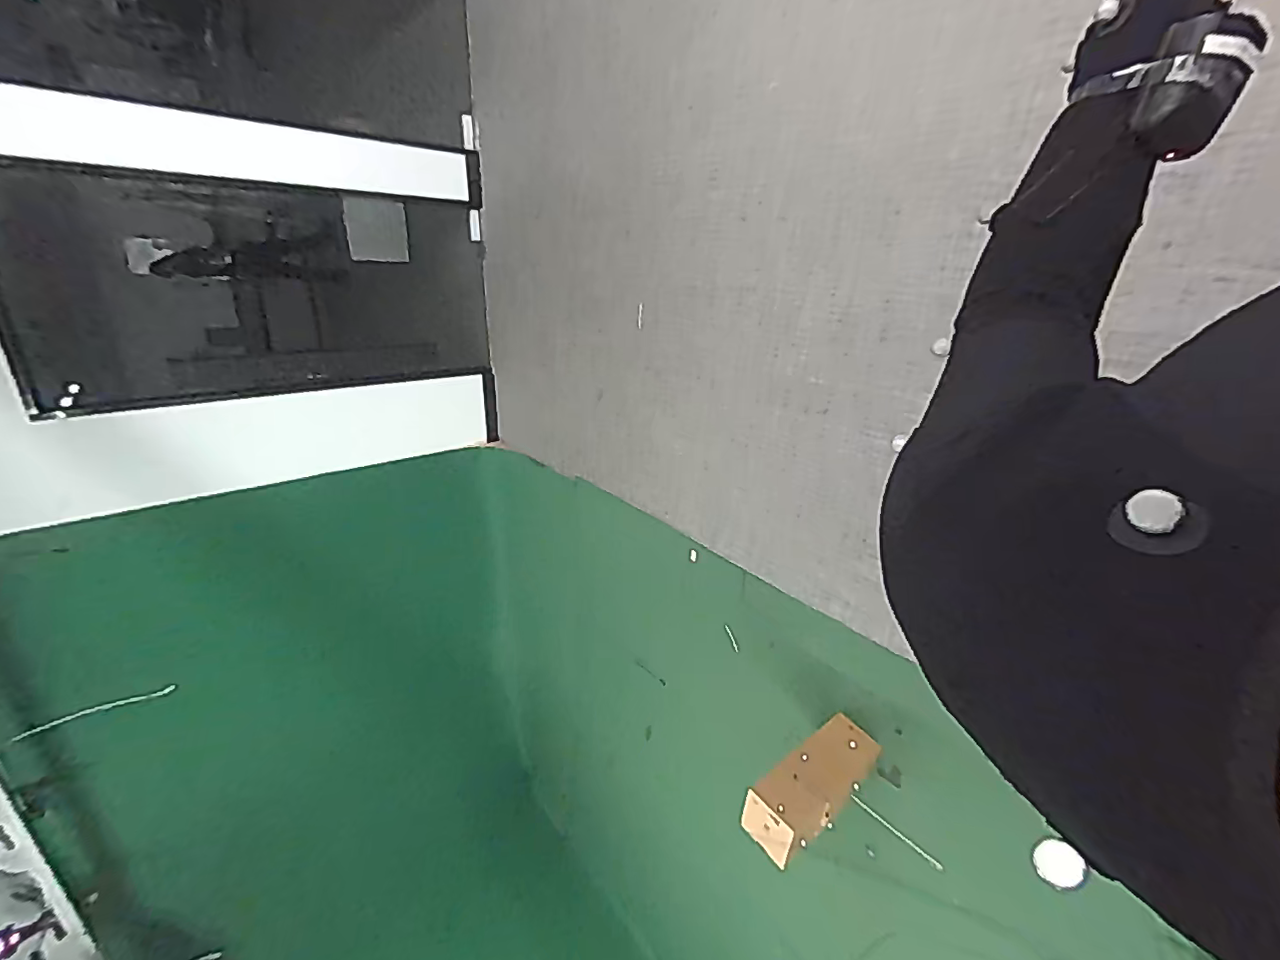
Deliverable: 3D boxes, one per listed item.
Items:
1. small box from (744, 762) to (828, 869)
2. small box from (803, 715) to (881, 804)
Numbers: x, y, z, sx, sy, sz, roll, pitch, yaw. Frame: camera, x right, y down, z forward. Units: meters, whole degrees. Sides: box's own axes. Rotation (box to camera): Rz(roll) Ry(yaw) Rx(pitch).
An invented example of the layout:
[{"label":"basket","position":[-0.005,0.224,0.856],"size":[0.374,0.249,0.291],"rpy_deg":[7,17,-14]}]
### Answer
[{"label":"small box","position":[0.438,0.997,1.618],"size":[0.168,0.176,0.179],"rpy_deg":[31,126,43]},{"label":"small box","position":[0.685,0.936,1.826],"size":[0.168,0.176,0.179],"rpy_deg":[35,128,40]}]
